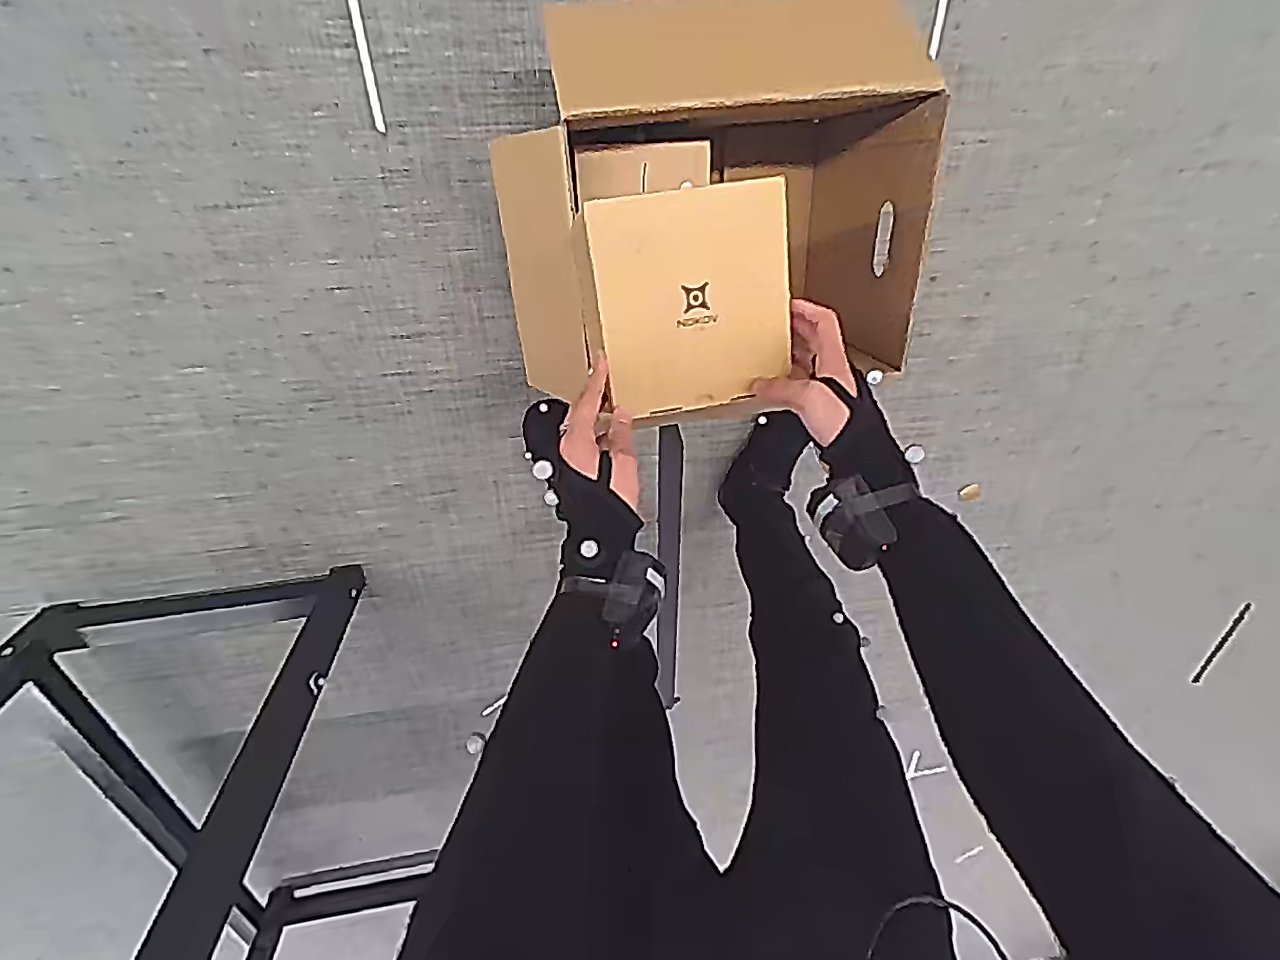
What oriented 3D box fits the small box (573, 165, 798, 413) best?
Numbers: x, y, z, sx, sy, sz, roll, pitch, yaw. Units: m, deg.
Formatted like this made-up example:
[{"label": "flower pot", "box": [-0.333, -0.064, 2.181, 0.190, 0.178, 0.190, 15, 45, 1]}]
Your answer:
[{"label": "small box", "box": [0.035, -0.177, 0.516, 0.168, 0.176, 0.179, -12, 112, -8]}]
